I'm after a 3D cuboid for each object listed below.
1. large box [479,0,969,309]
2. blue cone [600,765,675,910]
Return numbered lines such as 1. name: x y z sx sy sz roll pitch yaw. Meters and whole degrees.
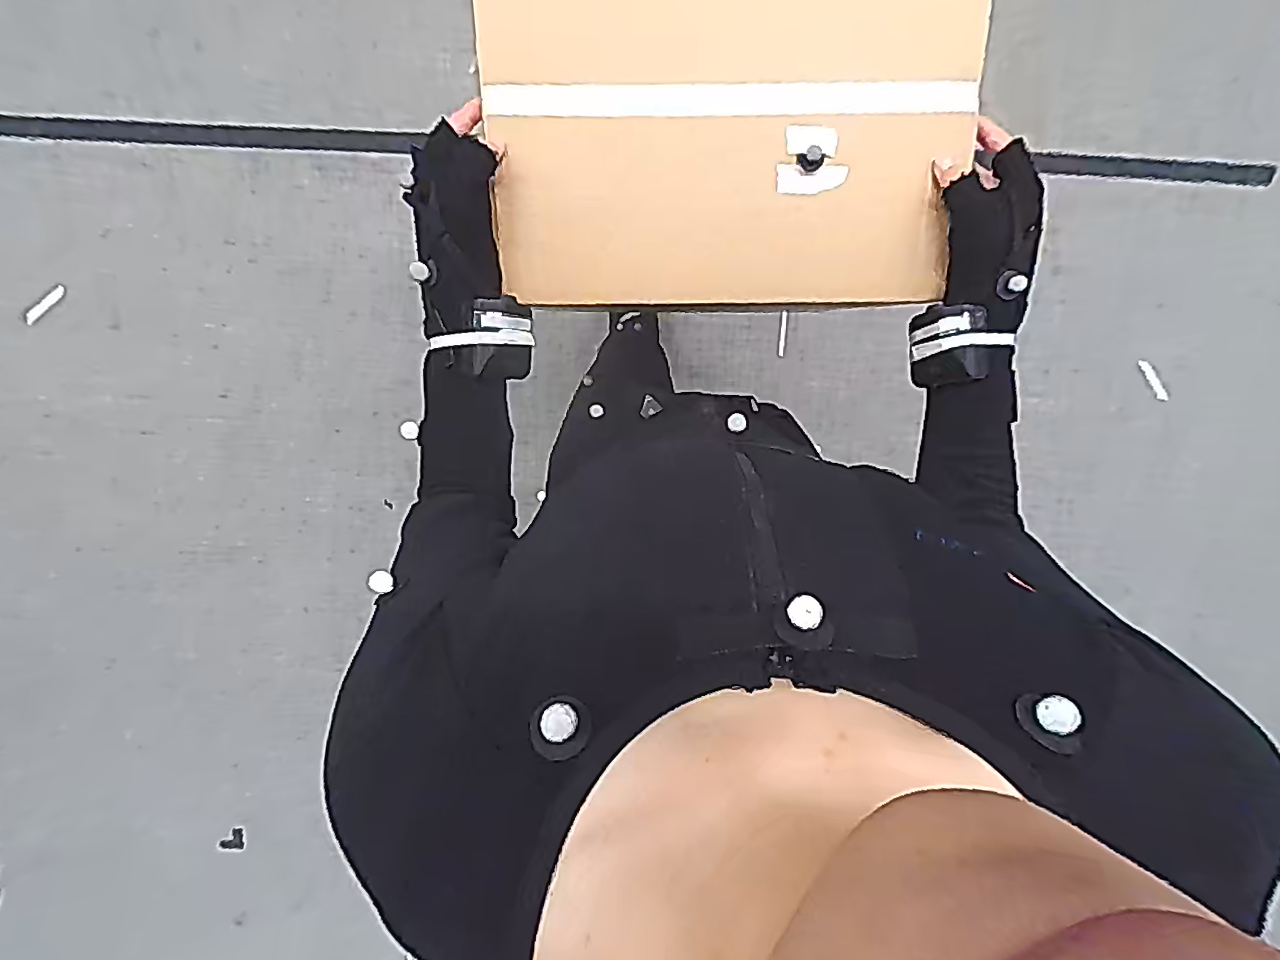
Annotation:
1. large box: 0.065 -0.362 0.598 0.408 0.320 0.320 -1 106 -1
2. blue cone: -0.005 0.990 1.470 0.193 0.380 0.192 23 98 -5
